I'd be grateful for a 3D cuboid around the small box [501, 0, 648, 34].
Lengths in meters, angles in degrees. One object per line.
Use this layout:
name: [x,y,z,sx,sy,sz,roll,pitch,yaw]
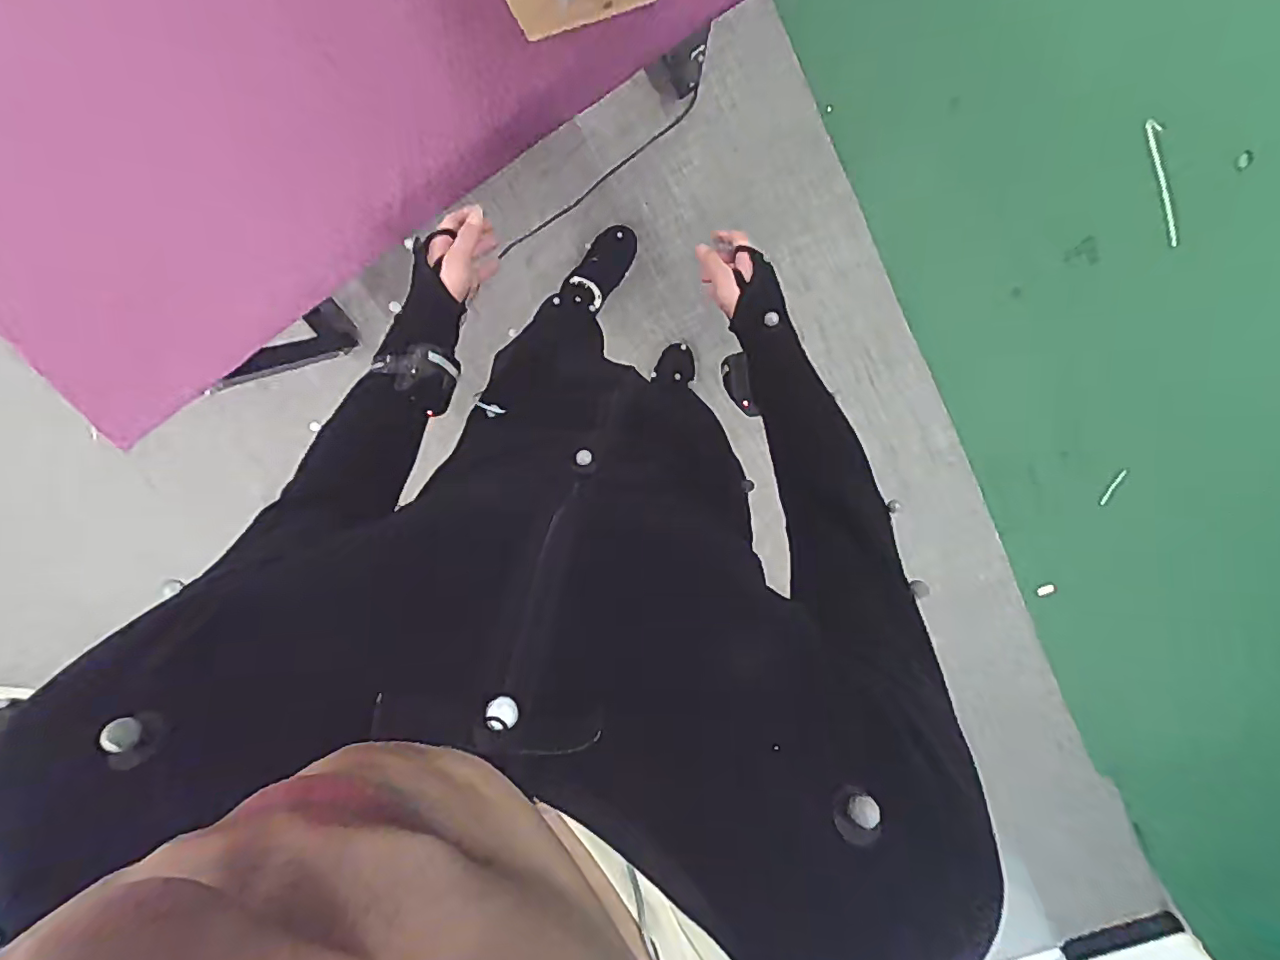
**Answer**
small box: [-0.084,-0.603,0.556,0.168,0.176,0.179,-12,109,7]
